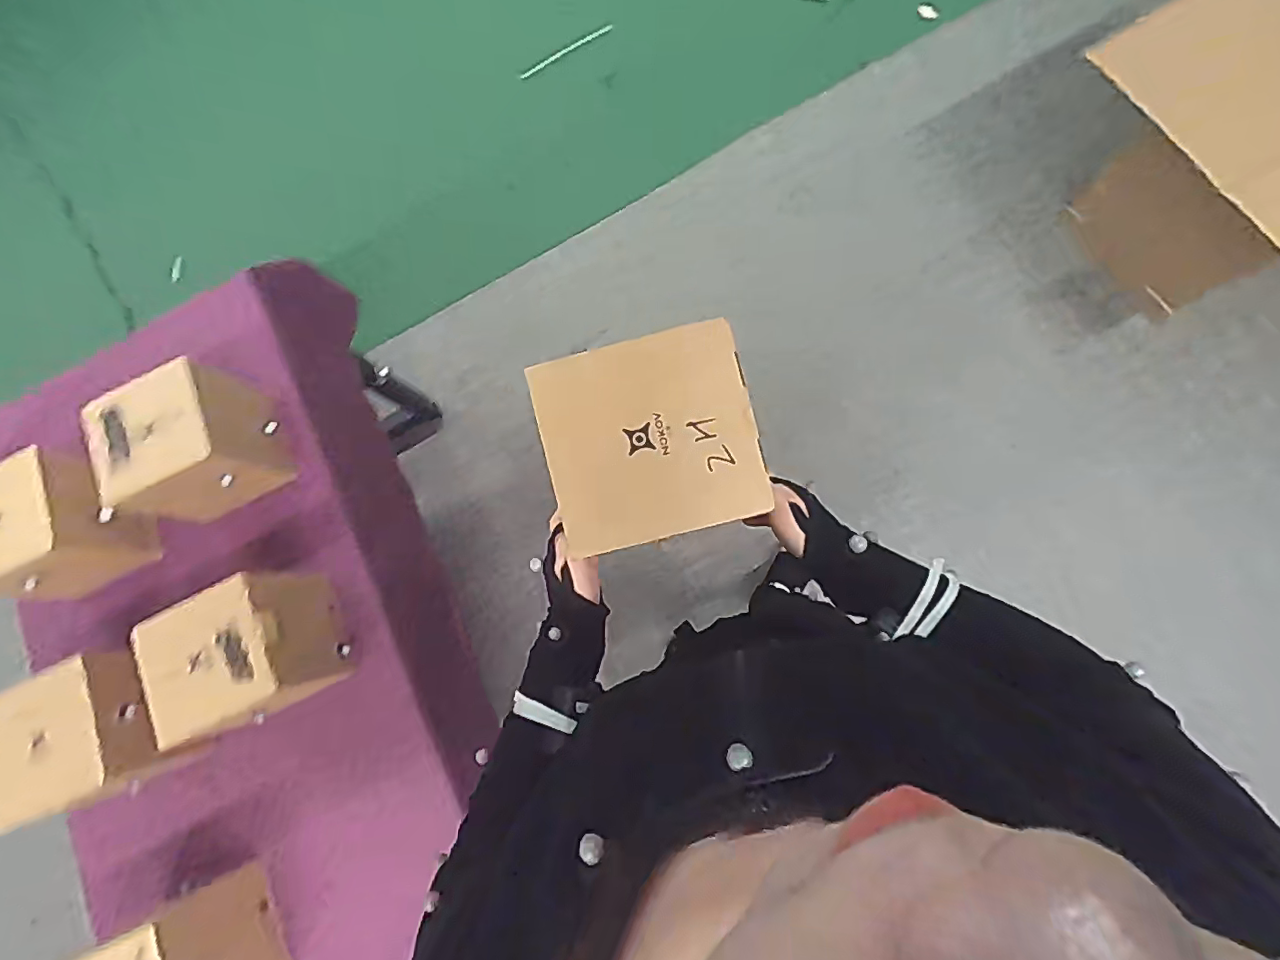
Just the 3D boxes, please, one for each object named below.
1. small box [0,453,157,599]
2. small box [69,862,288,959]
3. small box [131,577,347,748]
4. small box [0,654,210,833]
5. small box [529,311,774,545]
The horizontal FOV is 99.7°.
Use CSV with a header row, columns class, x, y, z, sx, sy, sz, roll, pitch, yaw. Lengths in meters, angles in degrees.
class,x,y,z,sx,sy,sz,roll,pitch,yaw
small box,-0.926,0.078,0.863,0.179,0.176,0.168,-26,78,3
small box,-0.616,0.657,0.711,0.179,0.176,0.168,-28,77,2
small box,-0.559,0.248,0.780,0.179,0.176,0.168,-27,77,3
small box,-0.780,0.363,0.791,0.168,0.176,0.179,-25,77,2
small box,0.012,-0.040,0.520,0.179,0.176,0.168,-13,89,2
